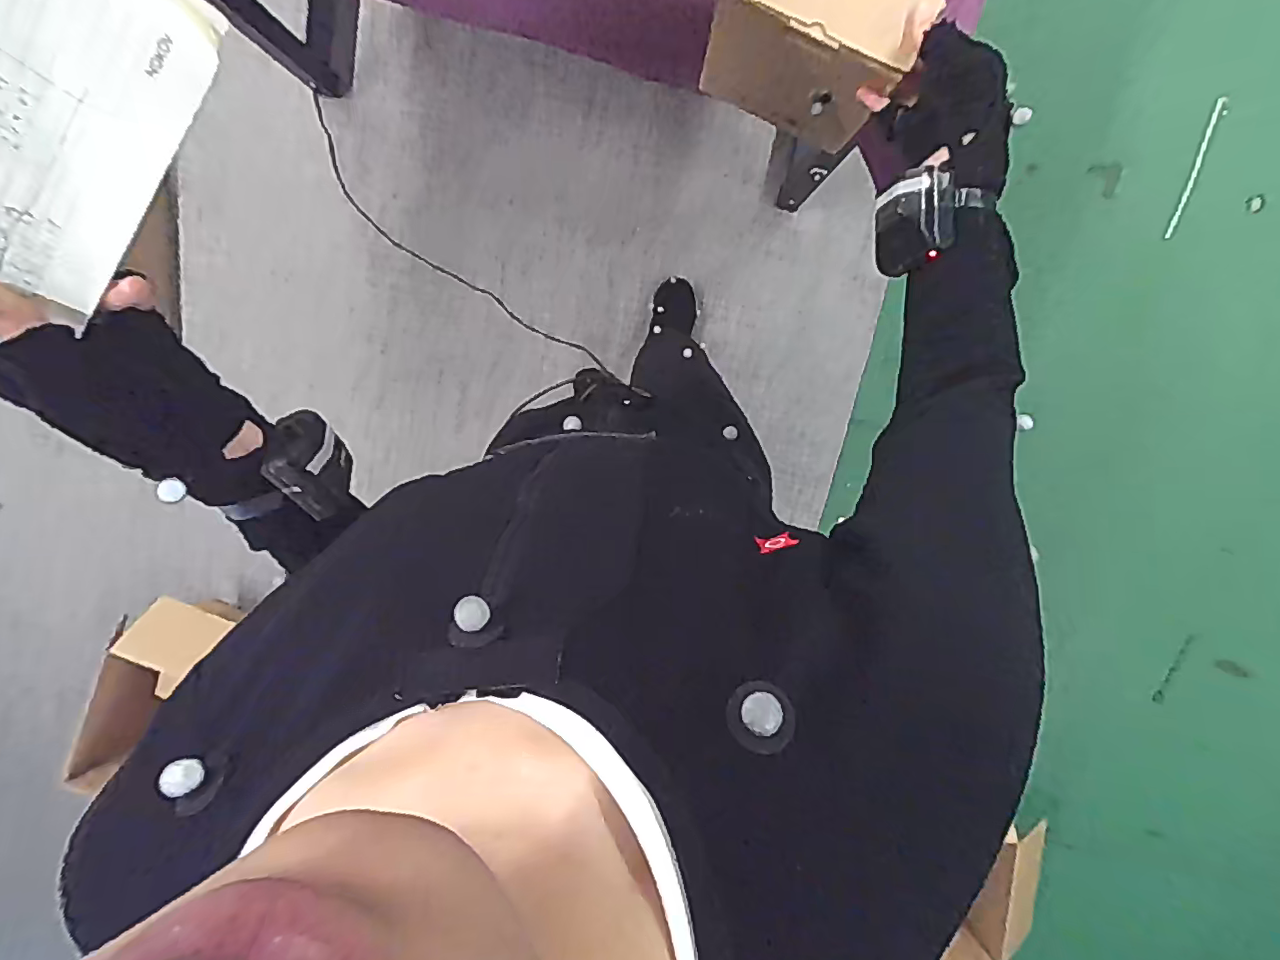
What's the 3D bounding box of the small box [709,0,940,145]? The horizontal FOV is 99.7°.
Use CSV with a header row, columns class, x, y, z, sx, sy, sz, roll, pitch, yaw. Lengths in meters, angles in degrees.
class,x,y,z,sx,sy,sz,roll,pitch,yaw
small box,0.172,-0.446,0.488,0.168,0.176,0.179,23,101,-5
